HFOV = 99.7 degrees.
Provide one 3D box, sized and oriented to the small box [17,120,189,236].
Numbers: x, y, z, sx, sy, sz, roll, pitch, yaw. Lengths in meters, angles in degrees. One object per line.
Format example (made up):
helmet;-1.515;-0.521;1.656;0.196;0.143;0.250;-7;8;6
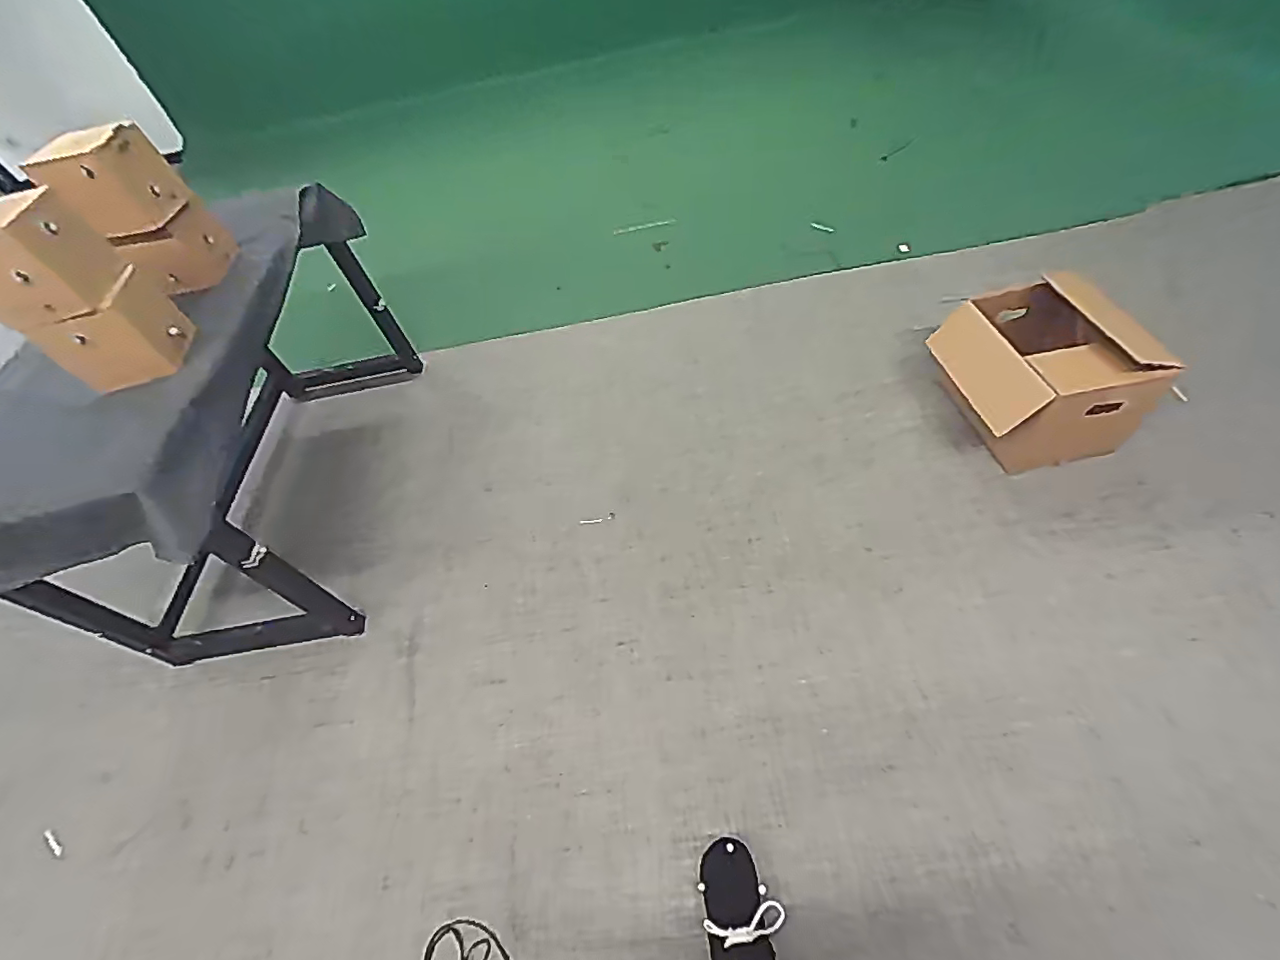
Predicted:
small box;-1.185;-0.669;1.210;0.179;0.176;0.168;-7;53;6

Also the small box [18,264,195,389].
small box;-1.101;-0.316;1.134;0.179;0.176;0.168;-18;52;-3

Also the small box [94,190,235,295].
small box;-1.174;-0.590;1.355;0.179;0.176;0.168;-9;53;3

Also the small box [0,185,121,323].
small box;-1.141;-0.412;1.009;0.168;0.176;0.179;-14;51;-1
